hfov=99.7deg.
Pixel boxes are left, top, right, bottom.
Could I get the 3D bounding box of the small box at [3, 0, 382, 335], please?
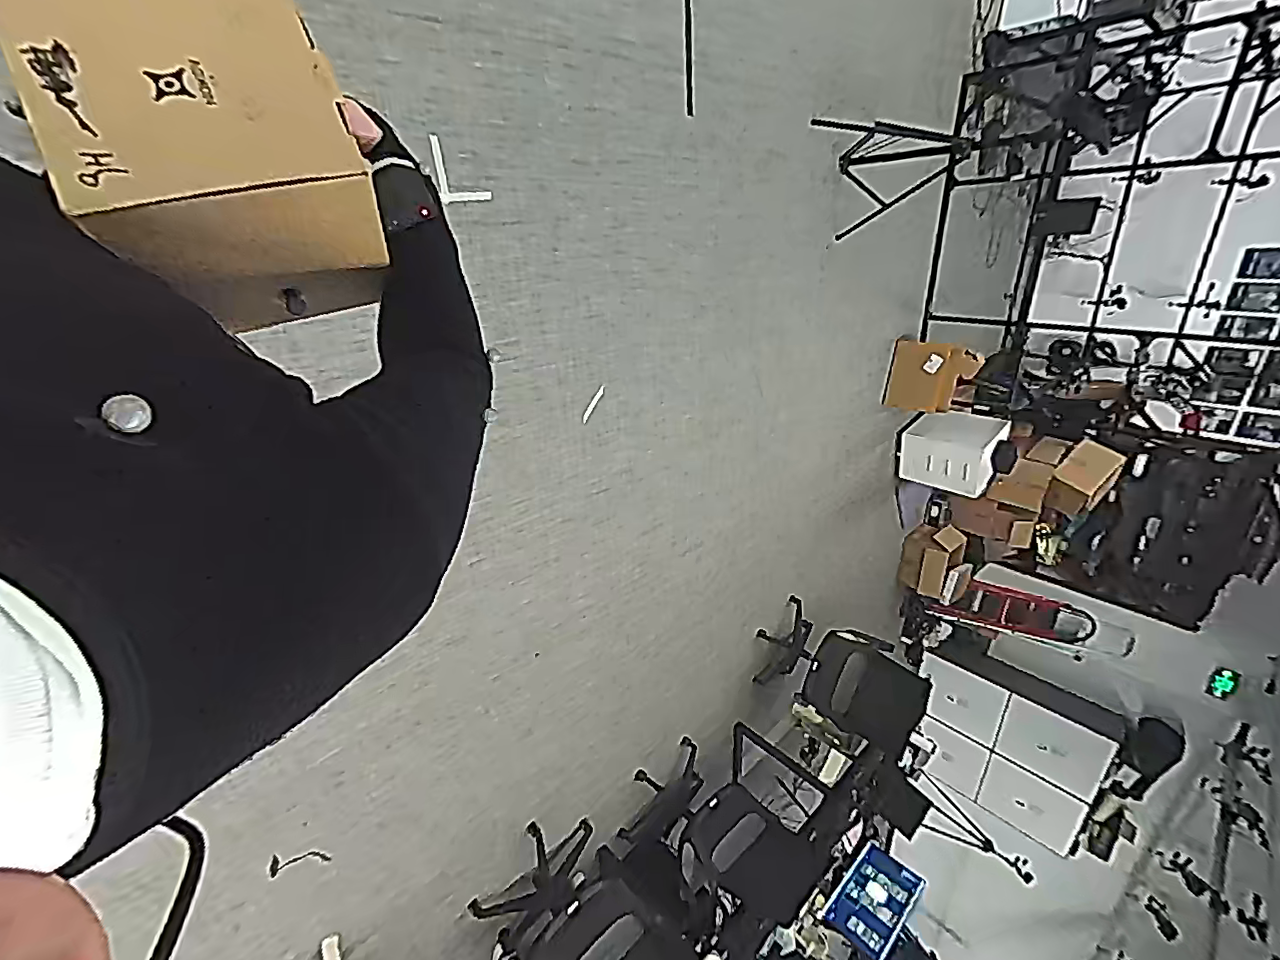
[{"bbox_3d":[-0.331,-0.246,0.448,0.179,0.176,0.168,-22,84,-21],"label":"small box"}]
